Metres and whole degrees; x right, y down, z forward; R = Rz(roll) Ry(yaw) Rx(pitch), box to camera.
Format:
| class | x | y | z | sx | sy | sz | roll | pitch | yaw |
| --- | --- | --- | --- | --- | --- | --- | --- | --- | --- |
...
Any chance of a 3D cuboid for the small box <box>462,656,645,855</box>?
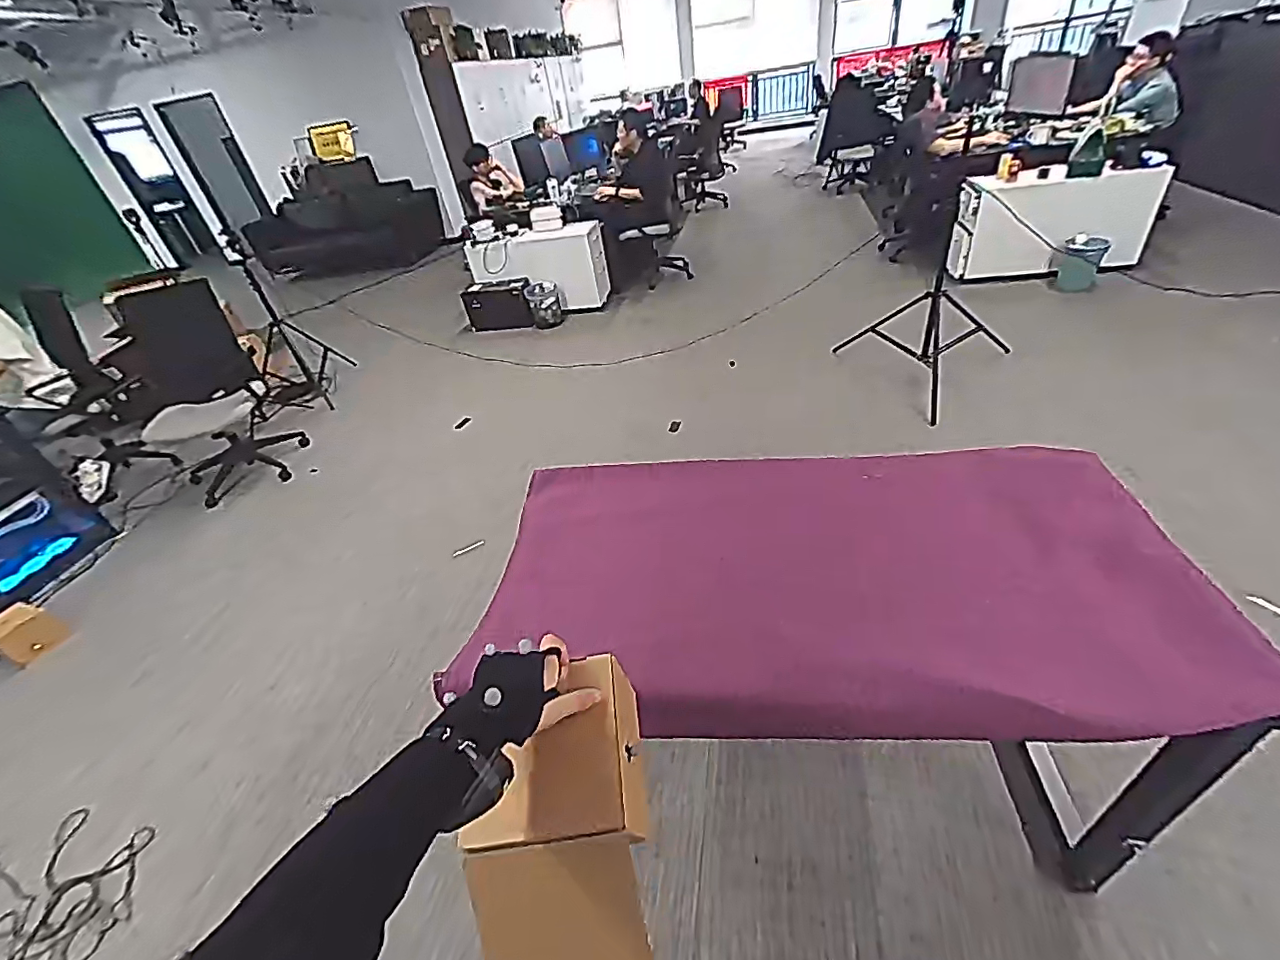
| class | x | y | z | sx | sy | sz | roll | pitch | yaw |
| --- | --- | --- | --- | --- | --- | --- | --- | --- | --- |
| small box | -0.092 | 0.330 | 0.638 | 0.168 | 0.176 | 0.179 | -10 | 52 | 3 |
